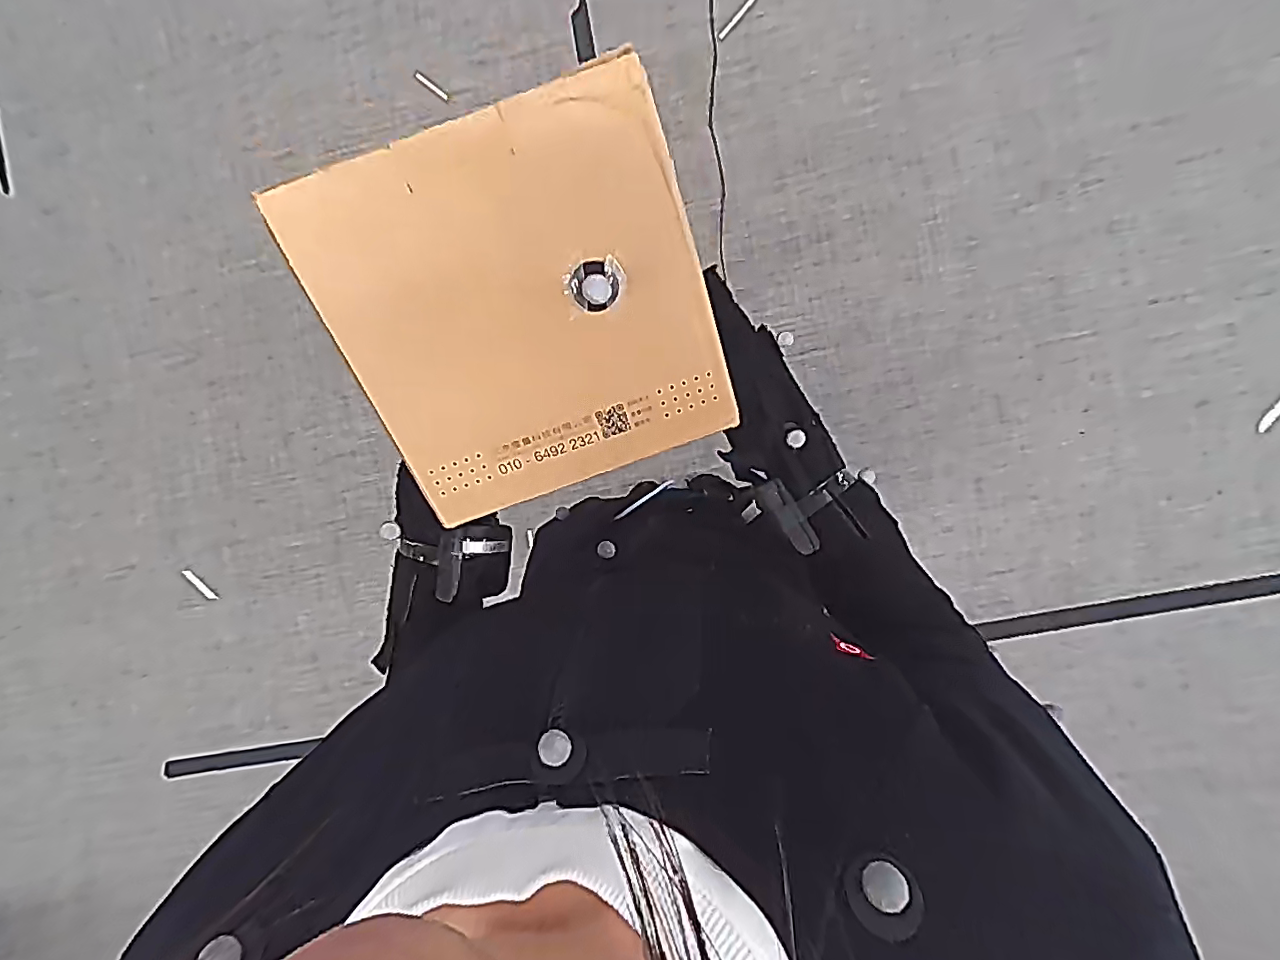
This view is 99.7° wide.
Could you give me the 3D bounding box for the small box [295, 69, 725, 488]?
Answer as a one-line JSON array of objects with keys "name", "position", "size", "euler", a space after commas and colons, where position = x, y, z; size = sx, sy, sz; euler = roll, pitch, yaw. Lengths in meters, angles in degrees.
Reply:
[{"name": "small box", "position": [-0.057, -0.111, 0.339], "size": [0.168, 0.179, 0.176], "euler": [-18, 116, 3]}]
